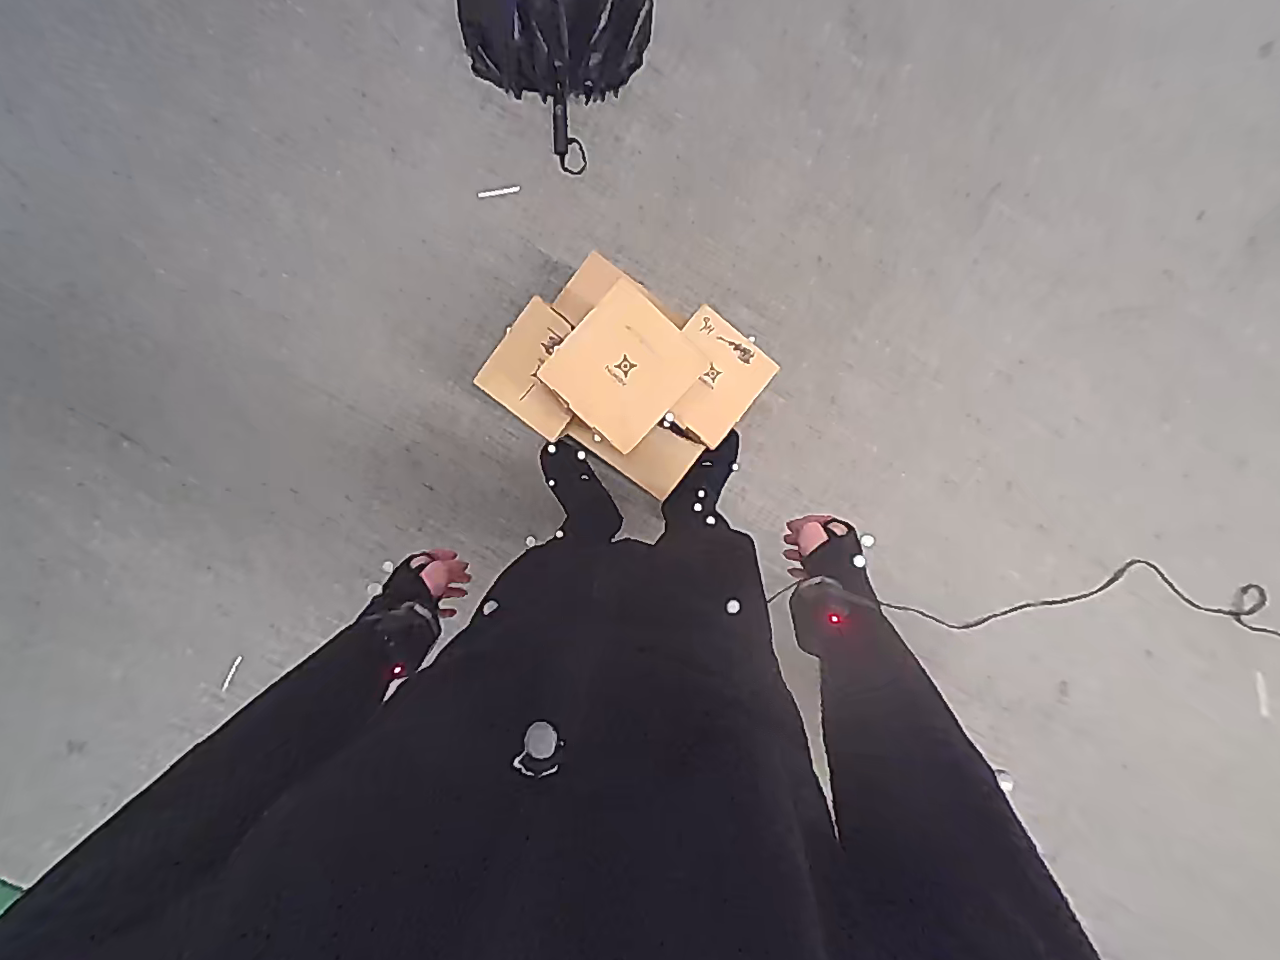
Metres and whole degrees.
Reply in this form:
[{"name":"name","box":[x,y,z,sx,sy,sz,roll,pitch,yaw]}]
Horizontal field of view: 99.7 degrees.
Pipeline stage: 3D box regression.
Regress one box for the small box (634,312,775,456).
[{"name":"small box","box":[0.106,-0.162,0.957,0.168,0.176,0.179,38,94,-5]}]

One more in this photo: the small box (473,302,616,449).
[{"name":"small box","box":[-0.157,-0.179,0.947,0.168,0.176,0.179,39,97,-6]}]
